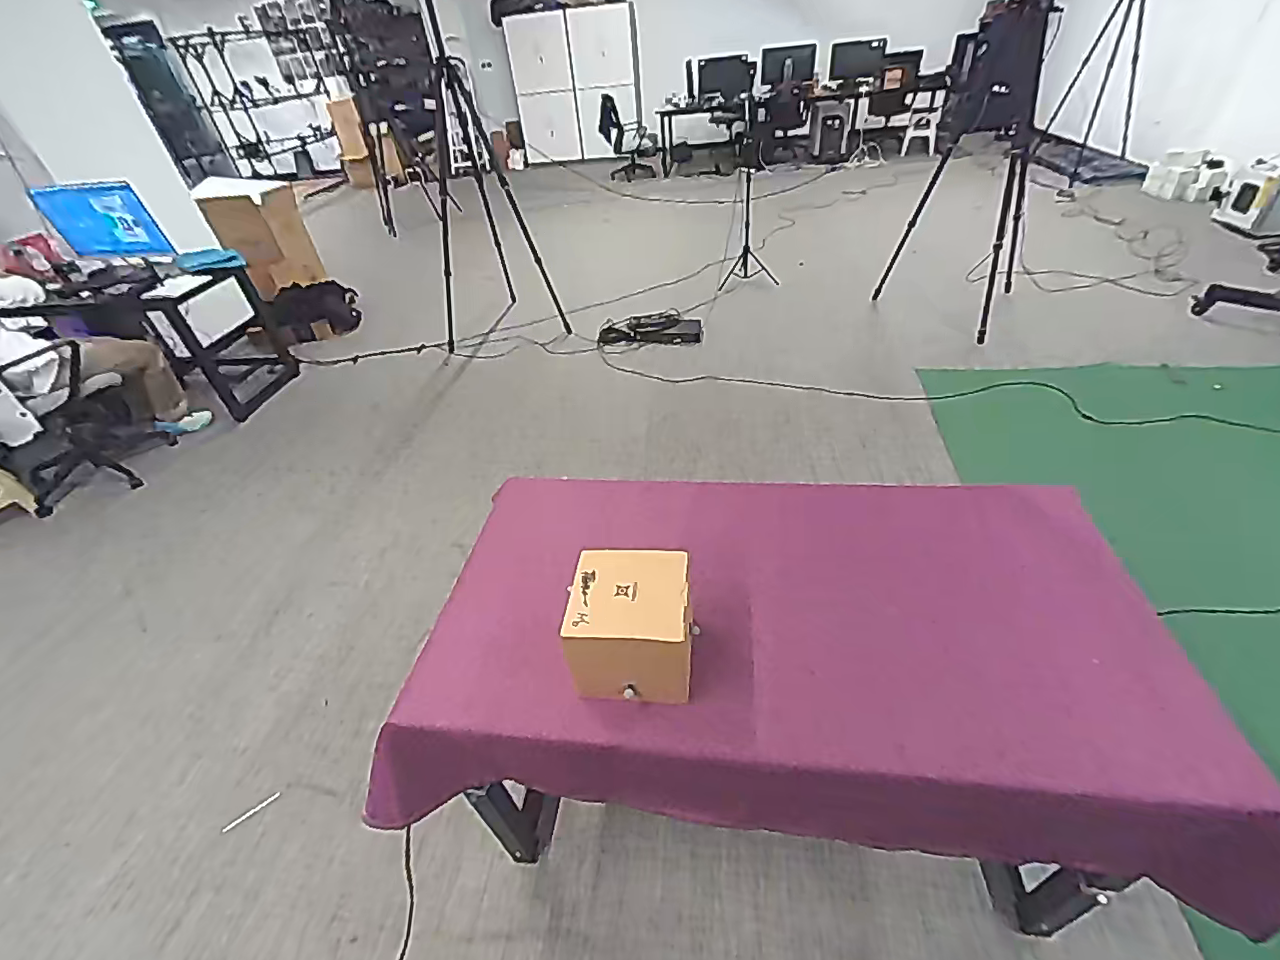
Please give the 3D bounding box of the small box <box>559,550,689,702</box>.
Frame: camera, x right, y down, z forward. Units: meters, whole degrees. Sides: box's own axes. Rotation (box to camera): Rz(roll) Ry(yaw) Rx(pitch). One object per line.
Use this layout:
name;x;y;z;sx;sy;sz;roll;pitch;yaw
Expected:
small box;-0.013;0.230;0.851;0.179;0.176;0.168;1;40;8
